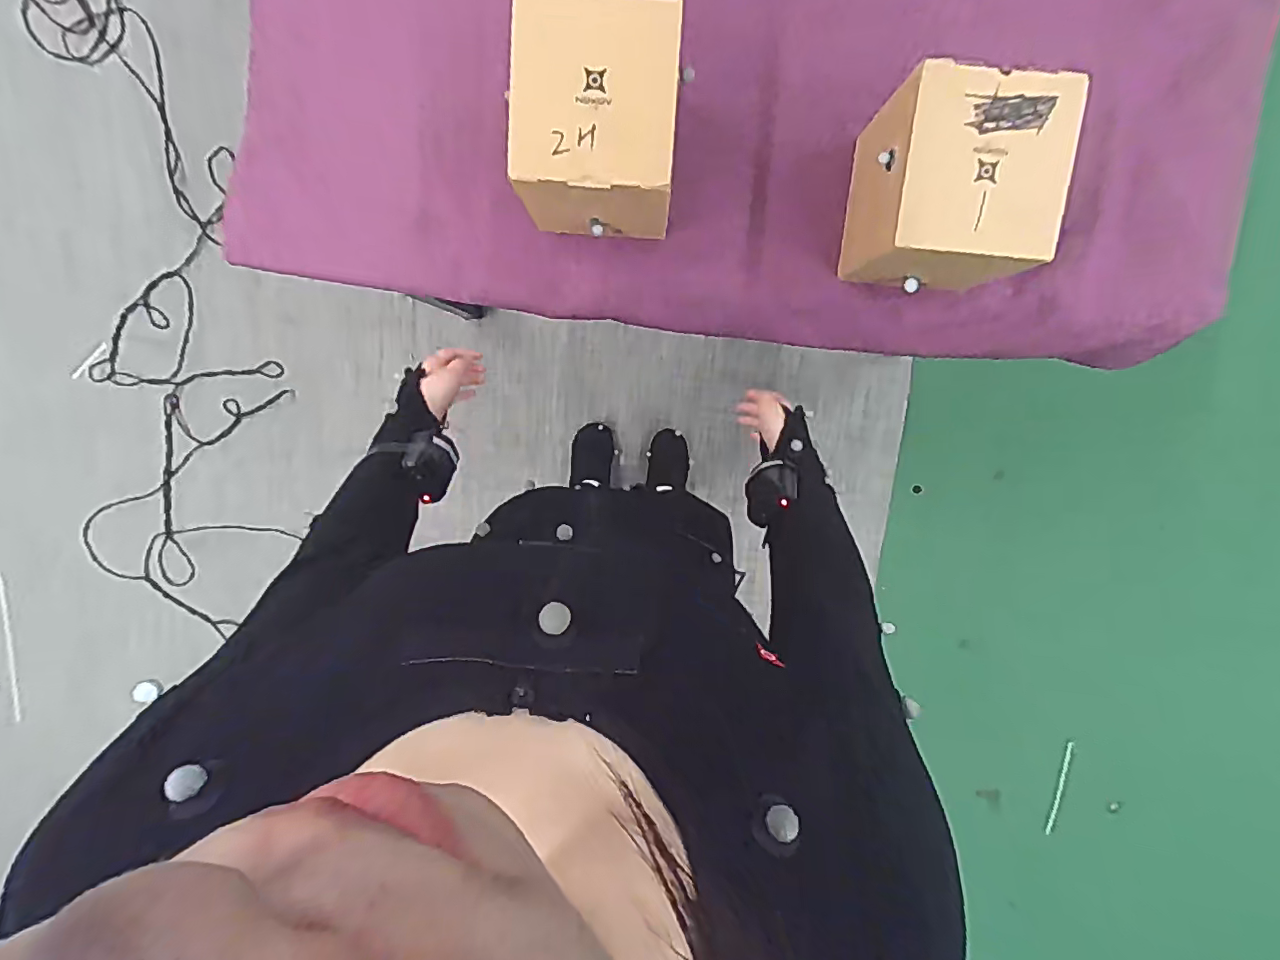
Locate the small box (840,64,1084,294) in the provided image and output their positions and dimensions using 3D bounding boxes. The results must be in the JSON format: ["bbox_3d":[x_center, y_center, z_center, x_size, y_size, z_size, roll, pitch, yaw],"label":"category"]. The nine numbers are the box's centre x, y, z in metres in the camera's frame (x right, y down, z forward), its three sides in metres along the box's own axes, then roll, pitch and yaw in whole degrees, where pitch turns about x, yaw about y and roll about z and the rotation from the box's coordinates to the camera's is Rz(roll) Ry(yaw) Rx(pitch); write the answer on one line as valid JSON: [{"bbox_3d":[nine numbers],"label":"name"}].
[{"bbox_3d":[0.347,-0.325,0.620,0.168,0.176,0.179,5,99,0],"label":"small box"}]

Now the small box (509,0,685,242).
[{"bbox_3d":[-0.044,-0.390,0.609,0.168,0.176,0.179,4,98,0],"label":"small box"}]
